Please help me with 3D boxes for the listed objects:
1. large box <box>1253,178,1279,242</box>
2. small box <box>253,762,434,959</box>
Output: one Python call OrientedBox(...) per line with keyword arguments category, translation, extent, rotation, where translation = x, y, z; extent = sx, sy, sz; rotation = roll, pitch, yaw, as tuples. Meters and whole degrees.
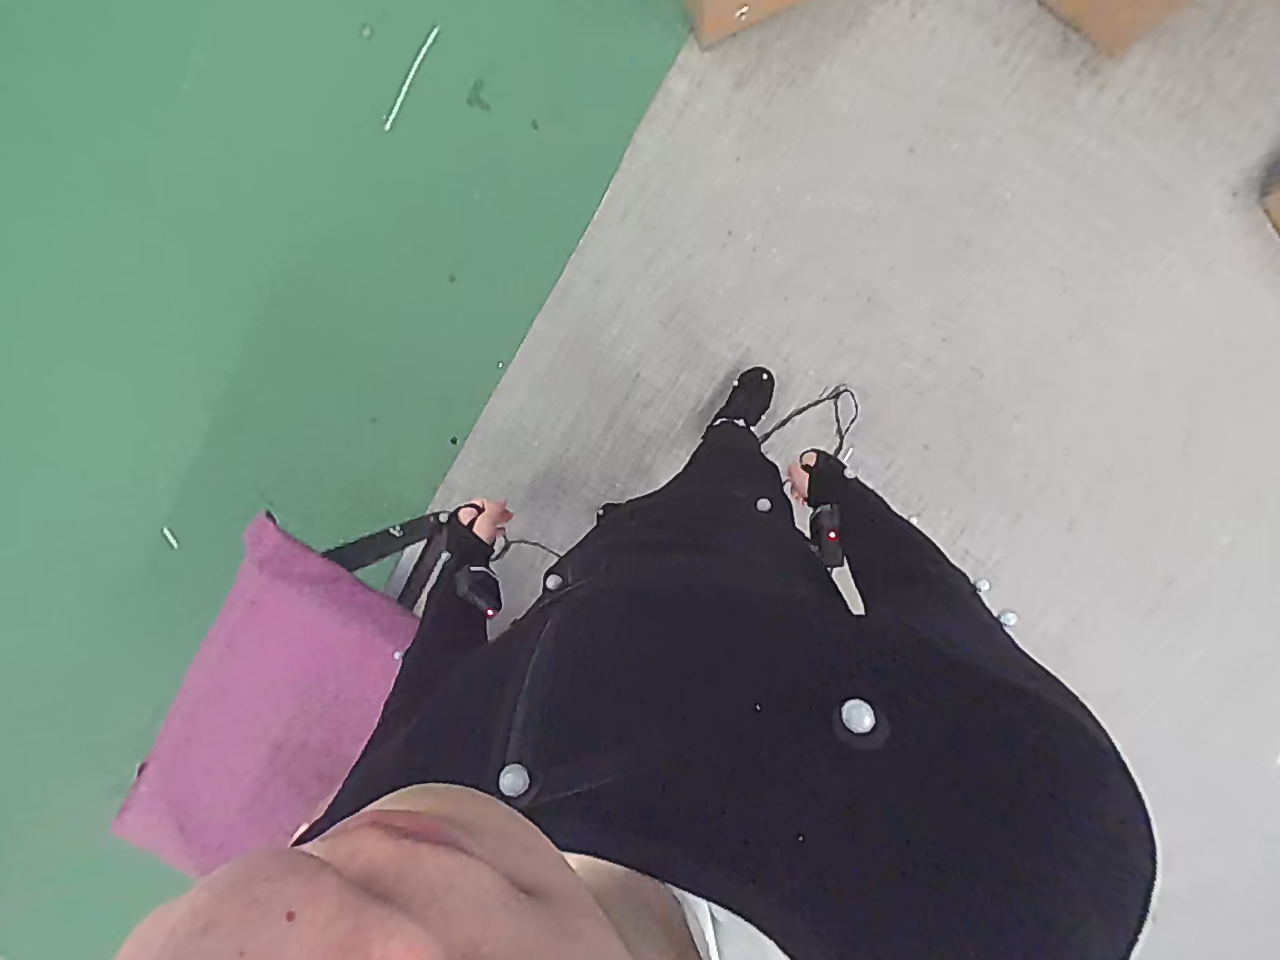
OrientedBox(category="large box", translation=(1.853, -0.664, 1.283), extent=(0.320, 0.320, 0.408), rotation=(-35, 92, 6))
OrientedBox(category="small box", translation=(-0.477, 0.623, 0.900), extent=(0.168, 0.176, 0.179), rotation=(35, 97, -1))
